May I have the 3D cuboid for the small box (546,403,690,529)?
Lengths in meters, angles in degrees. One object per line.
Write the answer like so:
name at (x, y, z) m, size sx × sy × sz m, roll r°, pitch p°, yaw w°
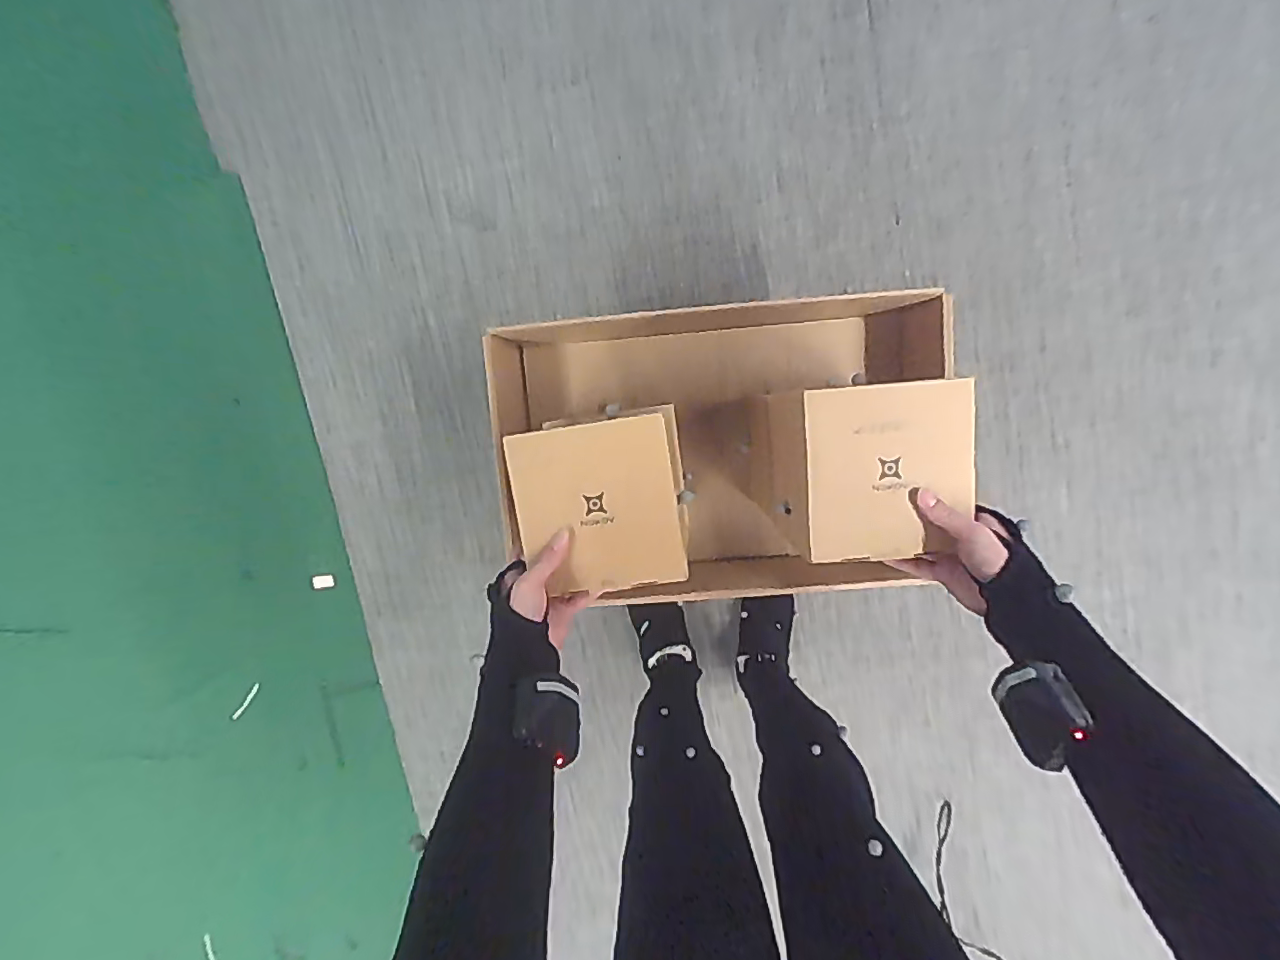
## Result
small box at (-0.024, -0.017, 0.780) m, size 0.179 × 0.176 × 0.168 m, roll -7°, pitch 96°, yaw 3°

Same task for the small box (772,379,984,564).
small box at (0.247, -0.015, 0.599) m, size 0.168 × 0.176 × 0.179 m, roll -3°, pitch 96°, yaw 1°

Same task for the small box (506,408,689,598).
small box at (-0.039, 0.016, 0.616) m, size 0.168 × 0.176 × 0.179 m, roll -7°, pitch 98°, yaw 4°
